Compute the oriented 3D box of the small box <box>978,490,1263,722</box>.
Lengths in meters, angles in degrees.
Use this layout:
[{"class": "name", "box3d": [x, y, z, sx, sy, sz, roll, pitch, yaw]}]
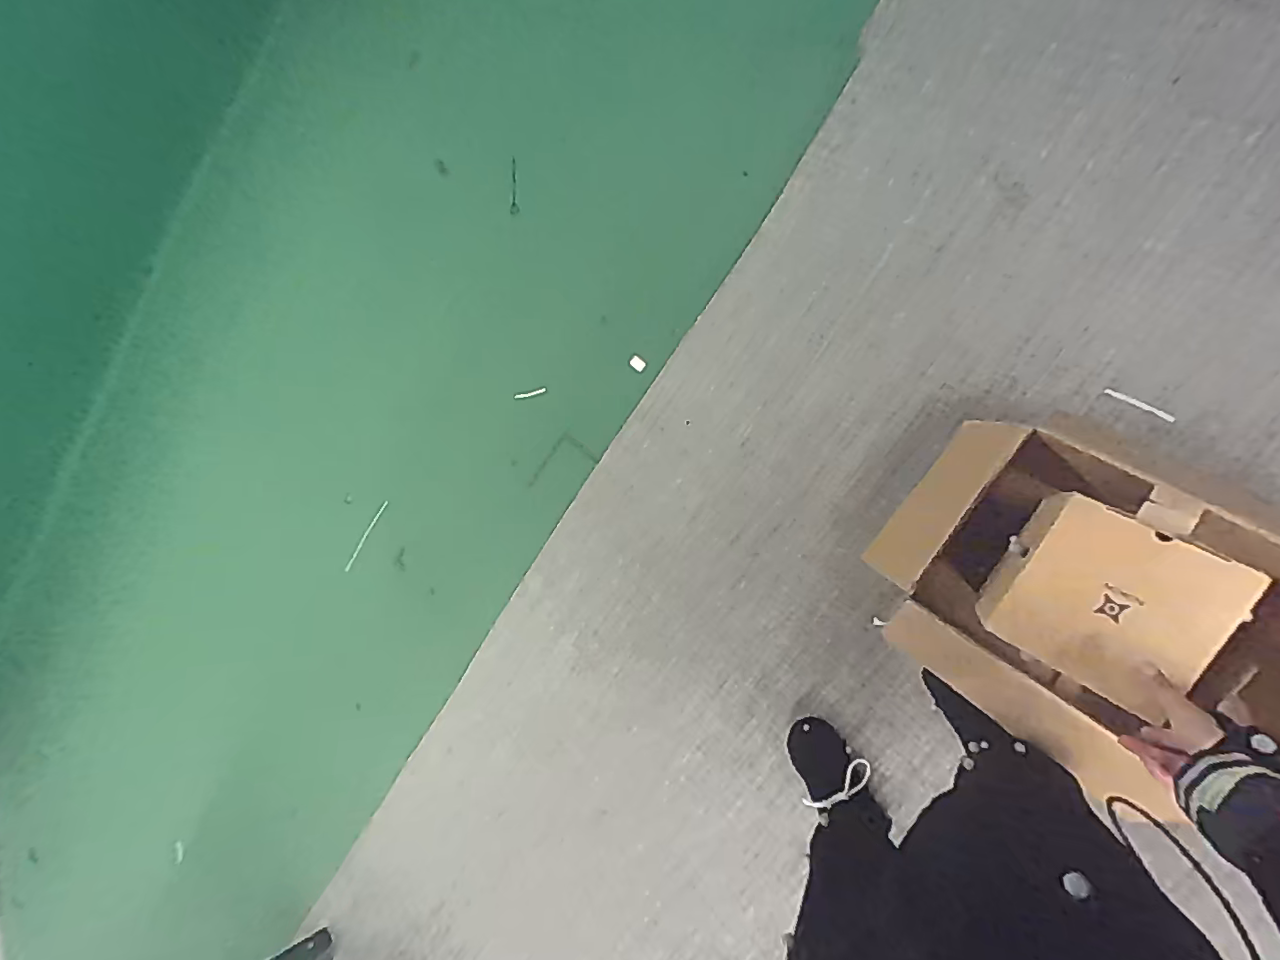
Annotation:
[{"class": "small box", "box3d": [0.513, 0.131, 0.613, 0.168, 0.176, 0.179, 32, 99, 28]}]
